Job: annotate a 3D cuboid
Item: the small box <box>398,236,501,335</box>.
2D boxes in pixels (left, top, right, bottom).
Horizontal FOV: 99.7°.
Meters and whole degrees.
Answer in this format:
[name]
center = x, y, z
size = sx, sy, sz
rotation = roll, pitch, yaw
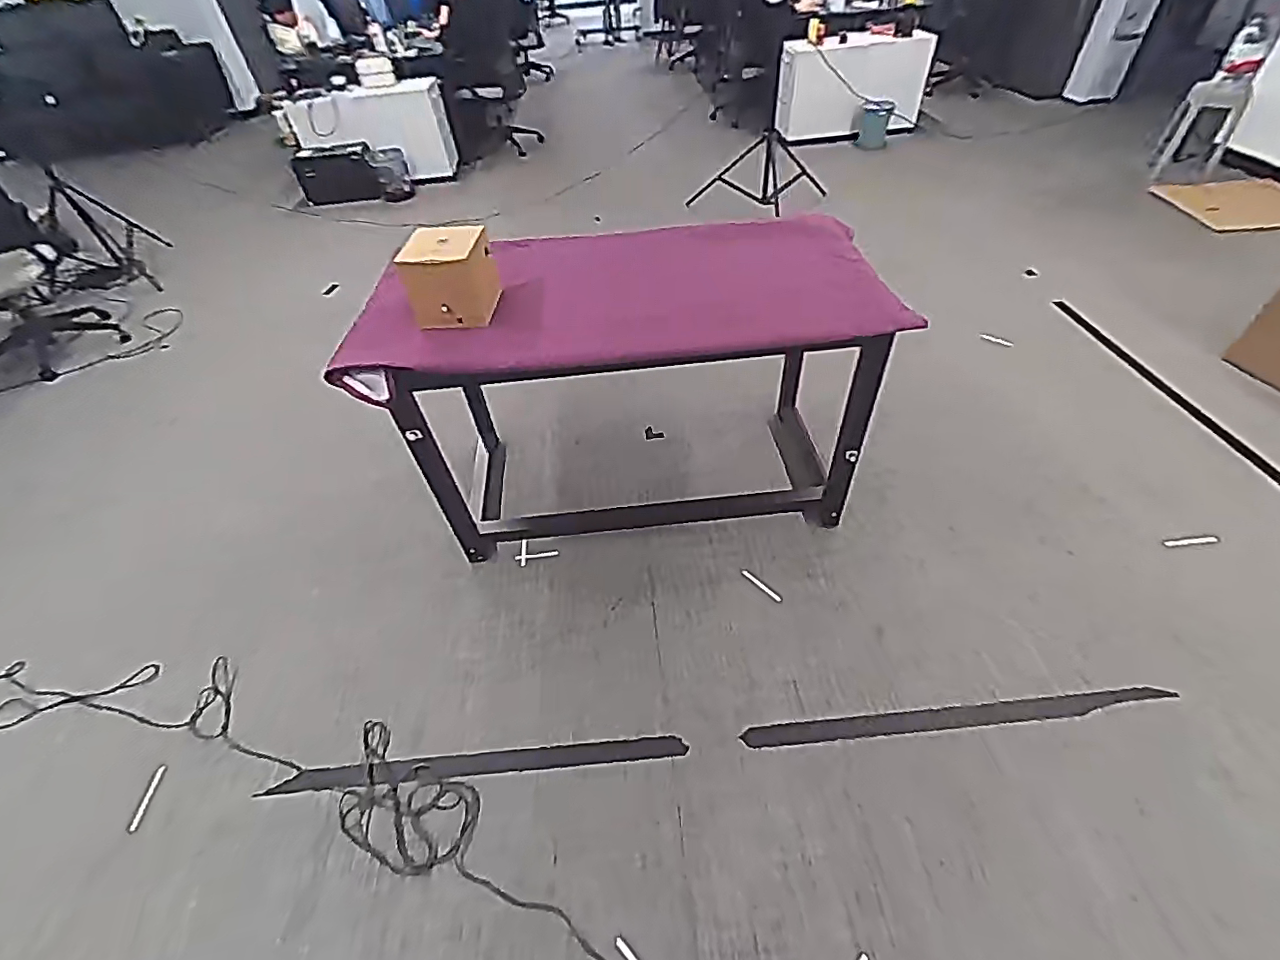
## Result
[small box]
center = -0.443, -0.465, 1.296
size = 0.168, 0.176, 0.179
rotation = -1, 47, 5
